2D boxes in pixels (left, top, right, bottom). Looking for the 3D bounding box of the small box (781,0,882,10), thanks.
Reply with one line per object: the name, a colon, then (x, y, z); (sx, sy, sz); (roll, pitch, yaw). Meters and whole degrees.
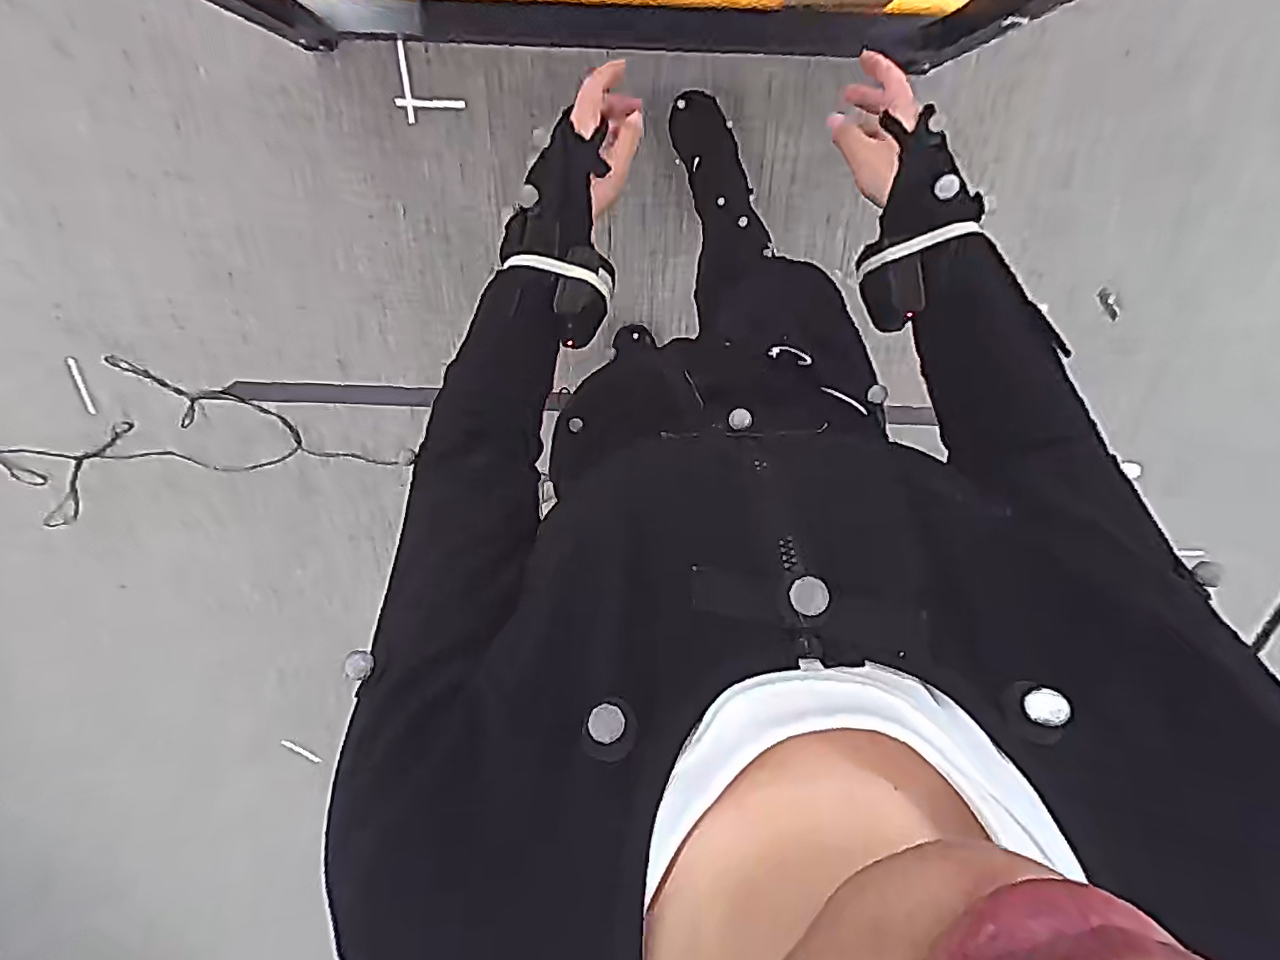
small box: (0.318, -0.828, 0.803); (0.179, 0.176, 0.168); (0, 117, 0)
